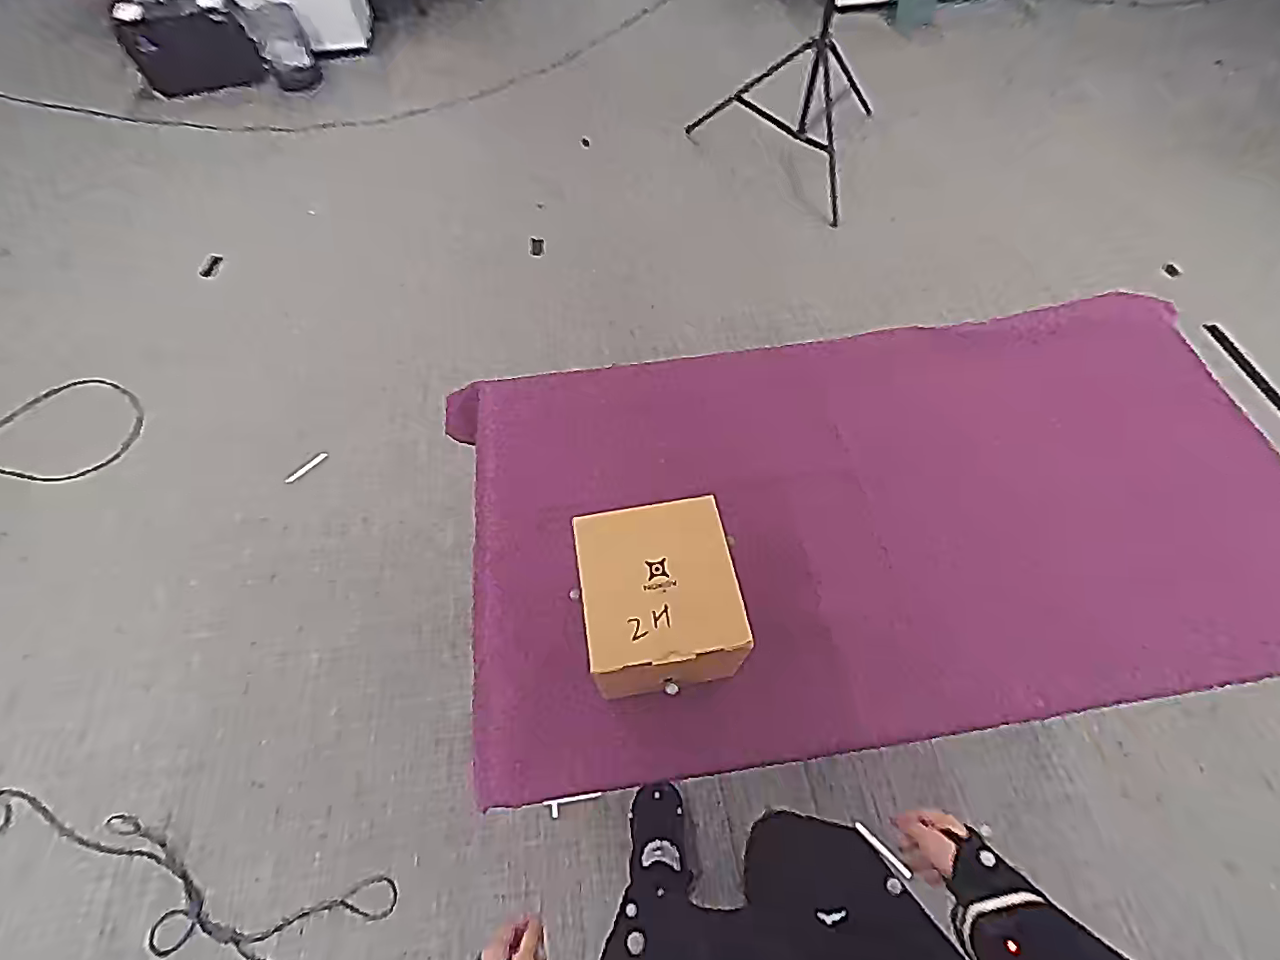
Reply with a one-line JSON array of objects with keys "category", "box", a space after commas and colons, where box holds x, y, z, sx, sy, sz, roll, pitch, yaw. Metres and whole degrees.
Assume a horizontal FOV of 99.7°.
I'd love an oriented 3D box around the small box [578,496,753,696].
[{"category": "small box", "box": [0.022, 0.142, 0.645, 0.168, 0.176, 0.179, -9, 60, -3]}]
